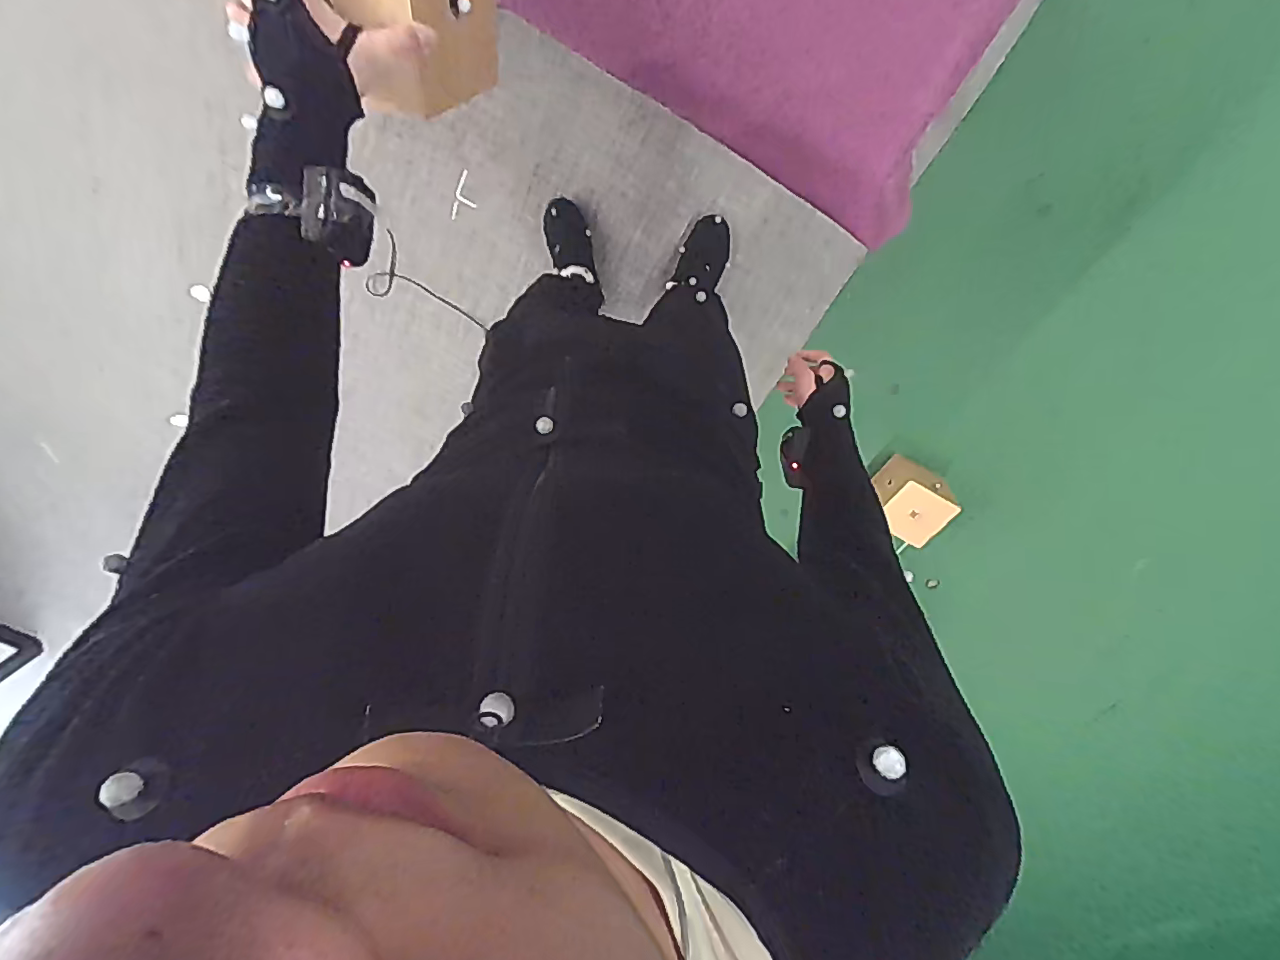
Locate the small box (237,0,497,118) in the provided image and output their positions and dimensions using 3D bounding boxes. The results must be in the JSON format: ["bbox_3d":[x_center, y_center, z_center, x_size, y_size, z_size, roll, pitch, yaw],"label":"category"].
[{"bbox_3d":[-0.239,-0.466,0.487,0.168,0.176,0.179,17,139,3],"label":"small box"}]

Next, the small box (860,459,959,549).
[{"bbox_3d":[0.769,0.062,1.566,0.179,0.176,0.168,28,121,-7],"label":"small box"}]
